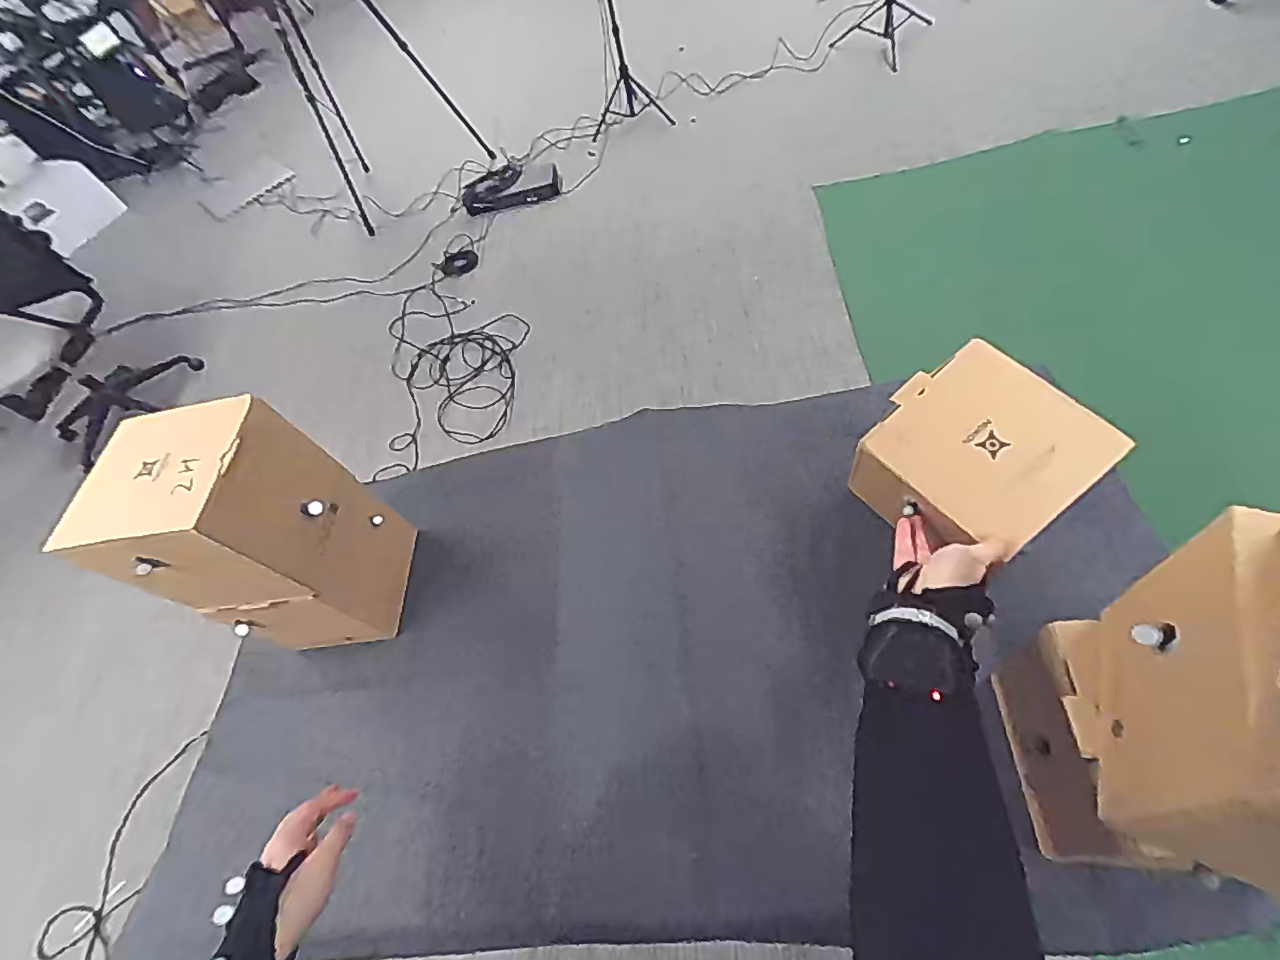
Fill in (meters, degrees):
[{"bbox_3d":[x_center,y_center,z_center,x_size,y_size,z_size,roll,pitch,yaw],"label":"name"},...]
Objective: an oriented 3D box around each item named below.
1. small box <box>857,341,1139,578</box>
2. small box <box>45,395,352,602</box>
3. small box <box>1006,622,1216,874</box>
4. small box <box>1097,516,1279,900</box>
[{"bbox_3d":[0.365,-0.011,0.599,0.168,0.176,0.179,-42,67,2],"label":"small box"},{"bbox_3d":[-0.473,0.031,0.613,0.179,0.176,0.168,-8,58,9],"label":"small box"},{"bbox_3d":[0.437,0.226,0.451,0.179,0.176,0.168,-4,56,14],"label":"small box"},{"bbox_3d":[0.404,0.149,0.311,0.179,0.176,0.168,16,61,23],"label":"small box"}]
